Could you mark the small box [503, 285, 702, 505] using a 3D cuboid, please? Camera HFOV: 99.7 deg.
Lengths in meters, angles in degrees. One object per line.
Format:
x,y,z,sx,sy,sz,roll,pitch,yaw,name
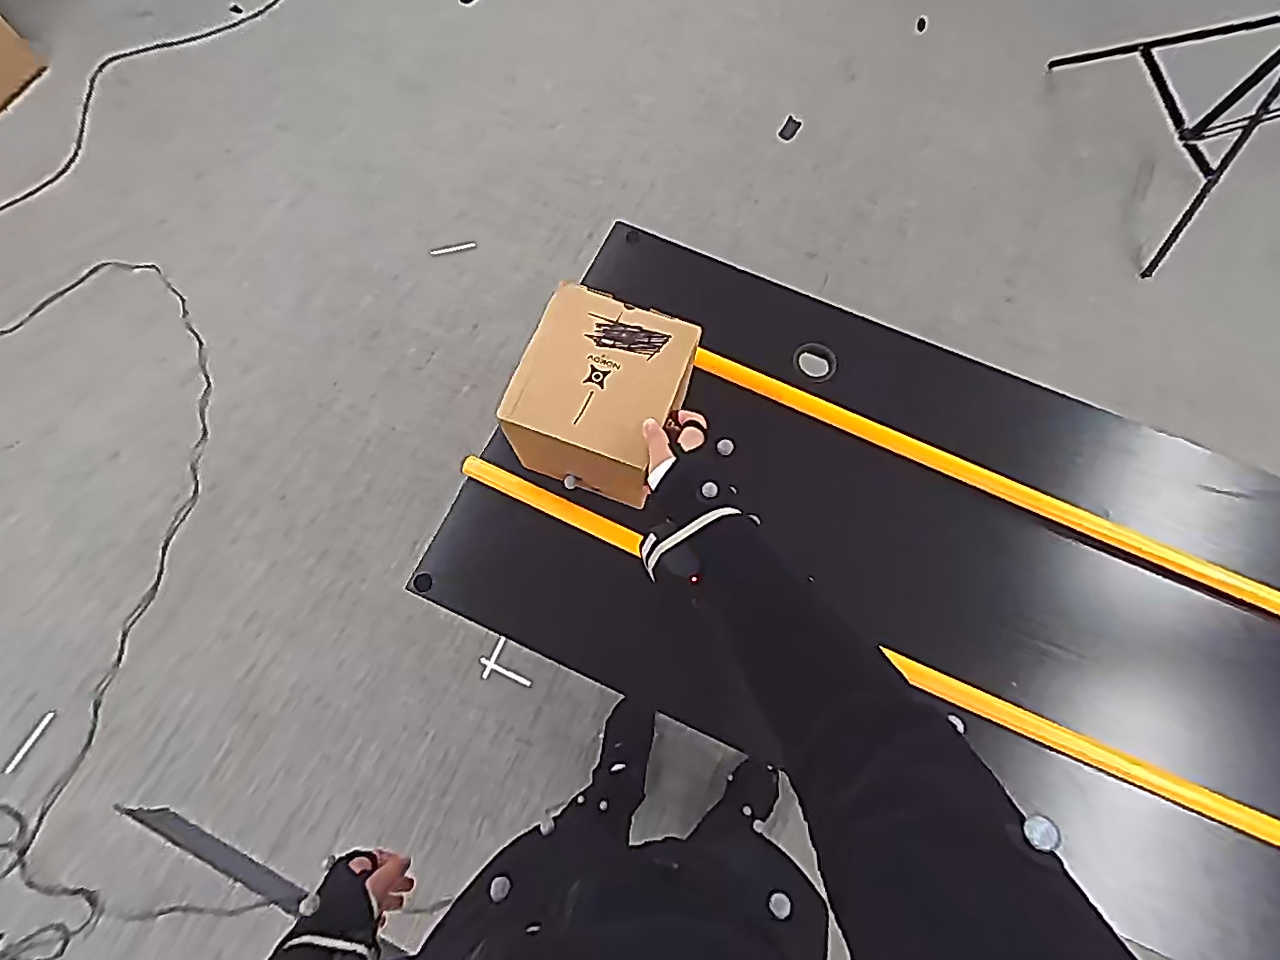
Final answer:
-0.040,-0.090,0.648,0.168,0.176,0.179,20,74,5,small box
